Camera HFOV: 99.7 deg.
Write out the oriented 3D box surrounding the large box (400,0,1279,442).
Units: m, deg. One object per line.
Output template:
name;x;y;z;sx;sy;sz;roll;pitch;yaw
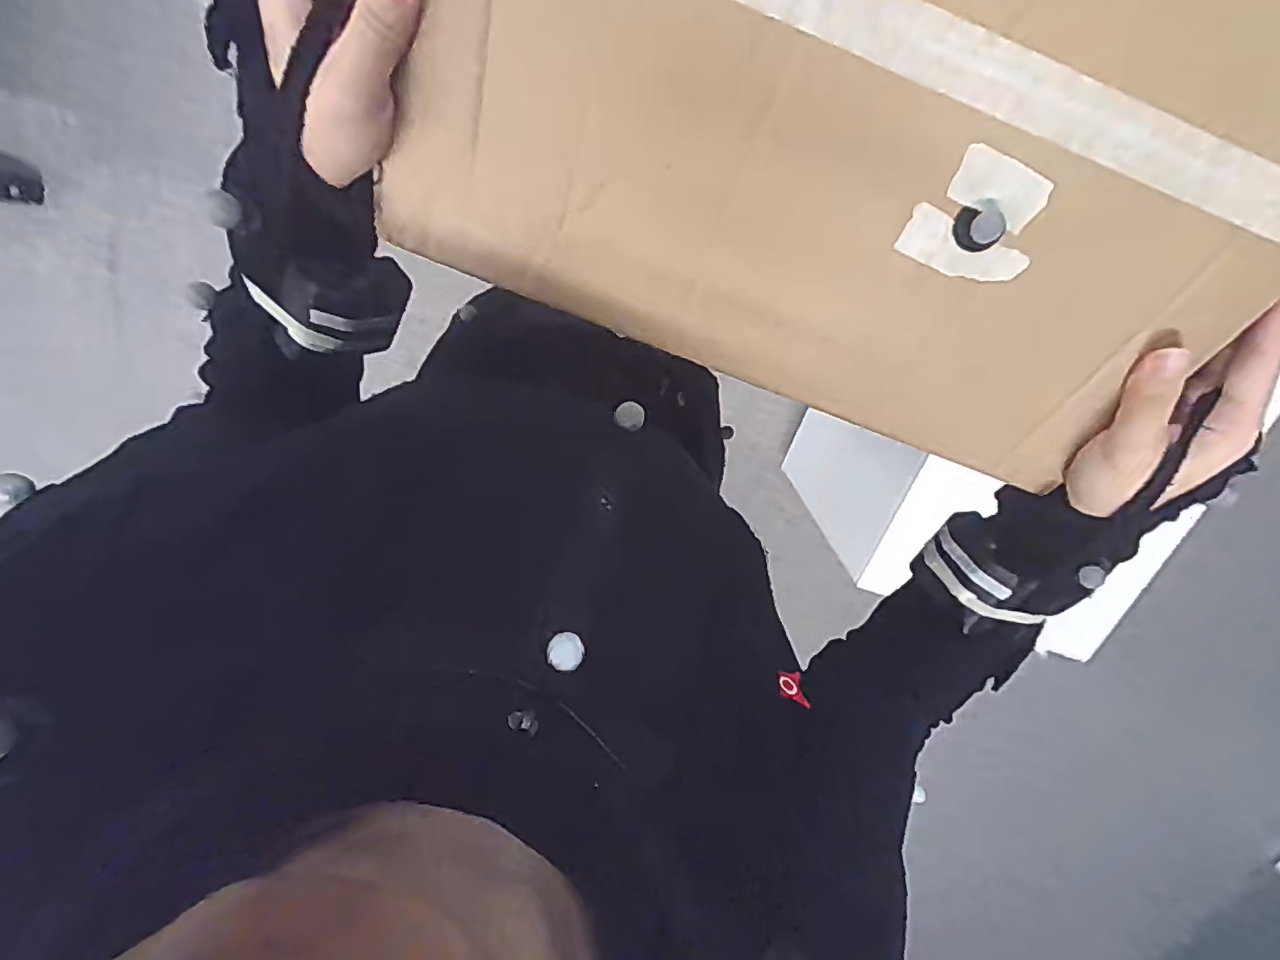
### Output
large box;0.120;-0.281;0.325;0.408;0.320;0.320;18;131;-6
